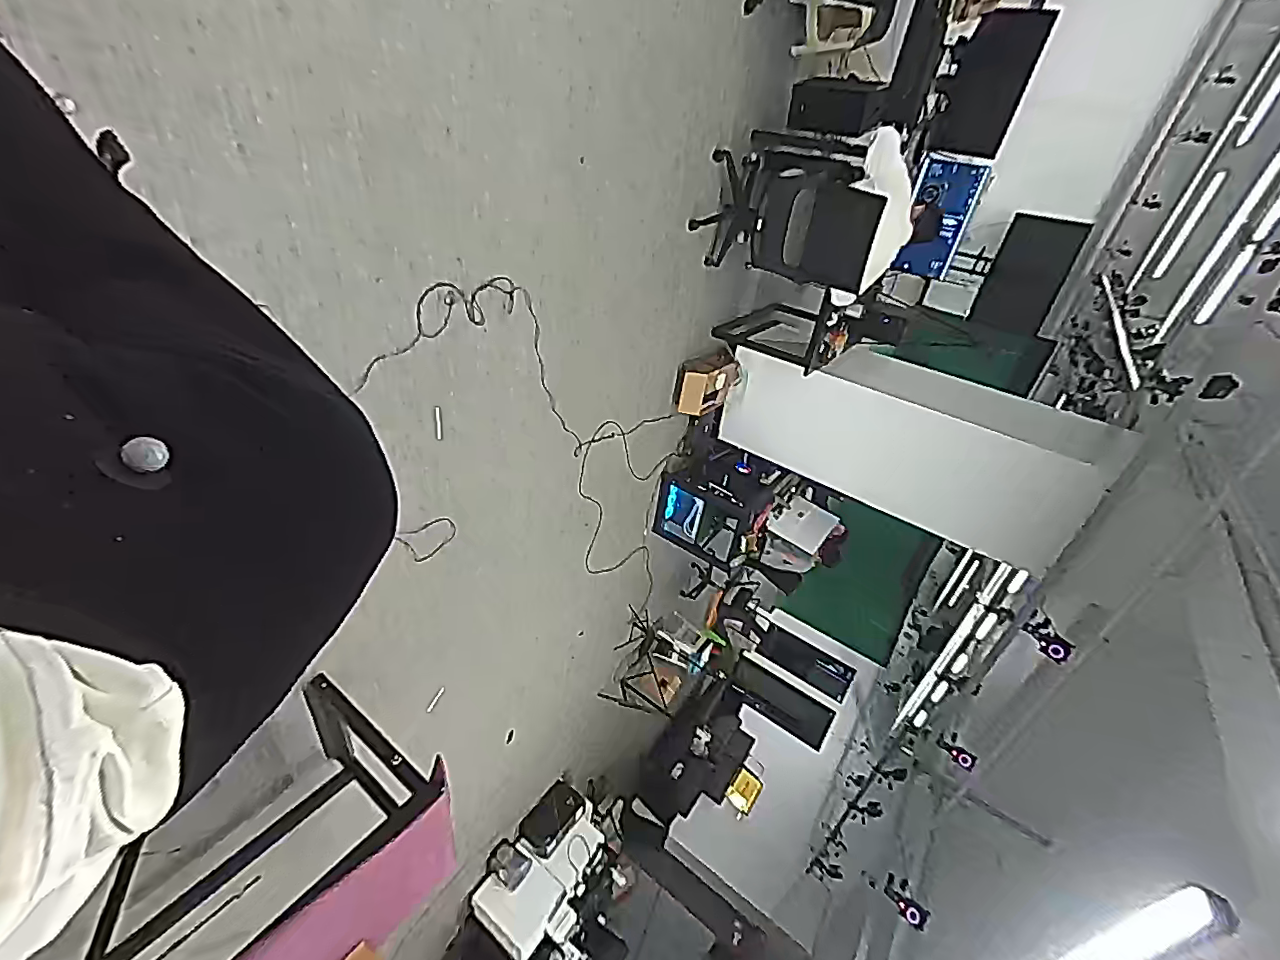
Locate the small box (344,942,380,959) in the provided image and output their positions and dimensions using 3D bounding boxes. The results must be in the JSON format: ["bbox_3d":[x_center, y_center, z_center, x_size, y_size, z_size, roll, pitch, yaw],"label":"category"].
[{"bbox_3d":[-0.921,1.670,1.762,0.168,0.176,0.179,-31,140,-47],"label":"small box"}]
